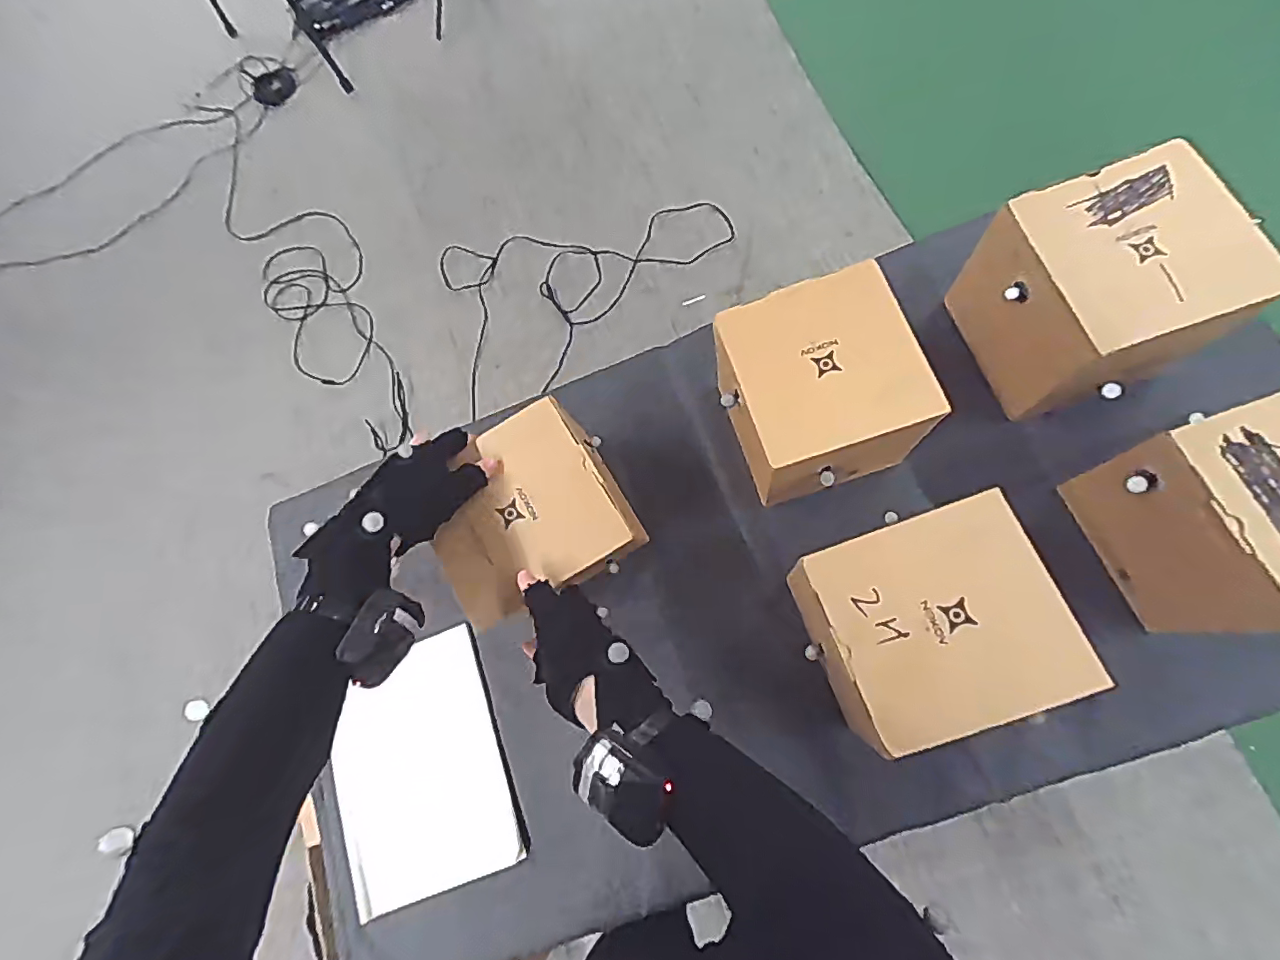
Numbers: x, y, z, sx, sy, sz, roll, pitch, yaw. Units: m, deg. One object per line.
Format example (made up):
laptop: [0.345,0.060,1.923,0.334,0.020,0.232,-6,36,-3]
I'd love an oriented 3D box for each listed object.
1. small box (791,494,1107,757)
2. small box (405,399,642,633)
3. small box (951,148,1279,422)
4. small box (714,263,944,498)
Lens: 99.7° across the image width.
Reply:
small box: [0.257,0.133,0.507,0.179,0.176,0.168,-21,70,5]
small box: [-0.109,0.040,0.590,0.179,0.176,0.168,-31,81,0]
small box: [0.461,-0.186,0.560,0.168,0.176,0.179,-19,72,6]
small box: [0.189,-0.089,0.587,0.168,0.176,0.179,-18,71,5]
